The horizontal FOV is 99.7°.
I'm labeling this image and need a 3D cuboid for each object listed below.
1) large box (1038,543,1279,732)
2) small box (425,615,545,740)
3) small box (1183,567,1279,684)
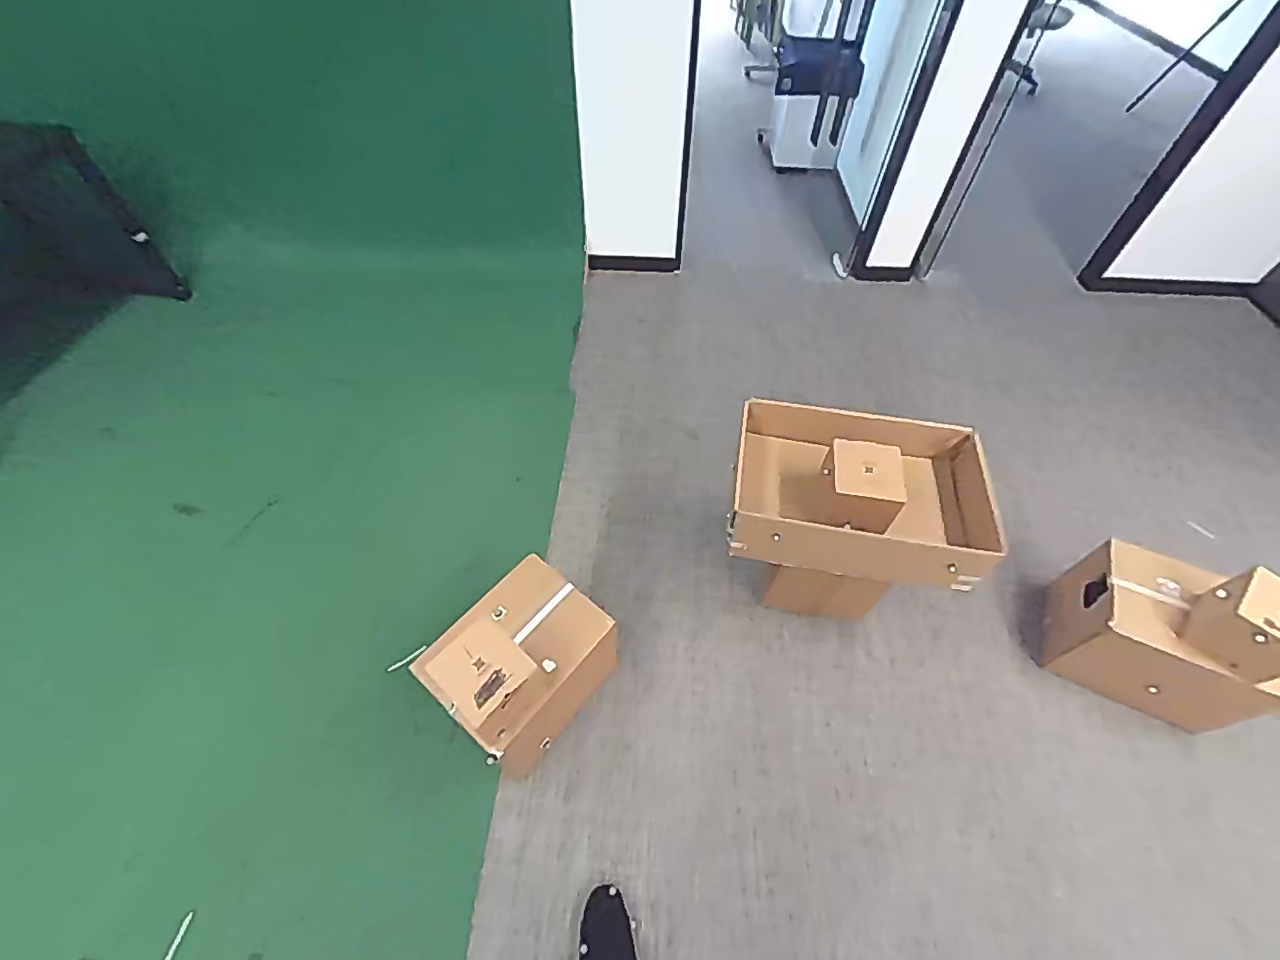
[{"bbox_3d":[1.430,0.443,1.518,0.408,0.320,0.320,22,55,16],"label":"large box"},{"bbox_3d":[-0.325,0.433,1.167,0.179,0.176,0.168,36,59,23],"label":"small box"},{"bbox_3d":[1.459,0.348,1.282,0.179,0.176,0.168,-37,62,-24],"label":"small box"}]
